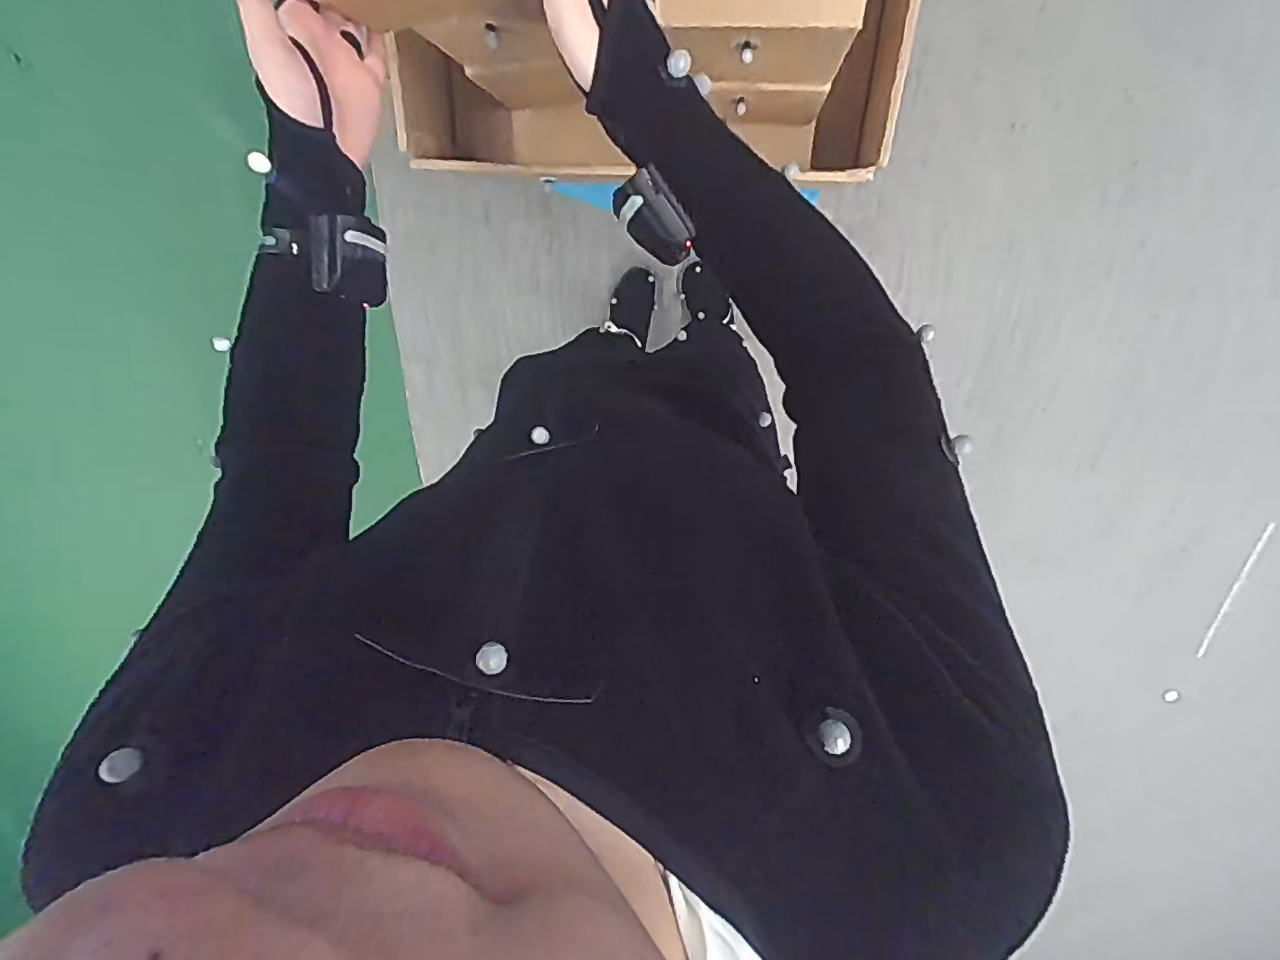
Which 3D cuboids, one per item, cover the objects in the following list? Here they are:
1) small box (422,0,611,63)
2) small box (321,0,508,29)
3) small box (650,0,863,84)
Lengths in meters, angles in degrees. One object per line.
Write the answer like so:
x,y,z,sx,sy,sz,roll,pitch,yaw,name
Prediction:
-0.133,-0.525,0.515,0.179,0.176,0.168,1,113,8,small box
-0.168,-0.424,0.344,0.179,0.176,0.168,-5,118,10,small box
0.112,-0.483,0.492,0.179,0.176,0.168,7,114,7,small box
